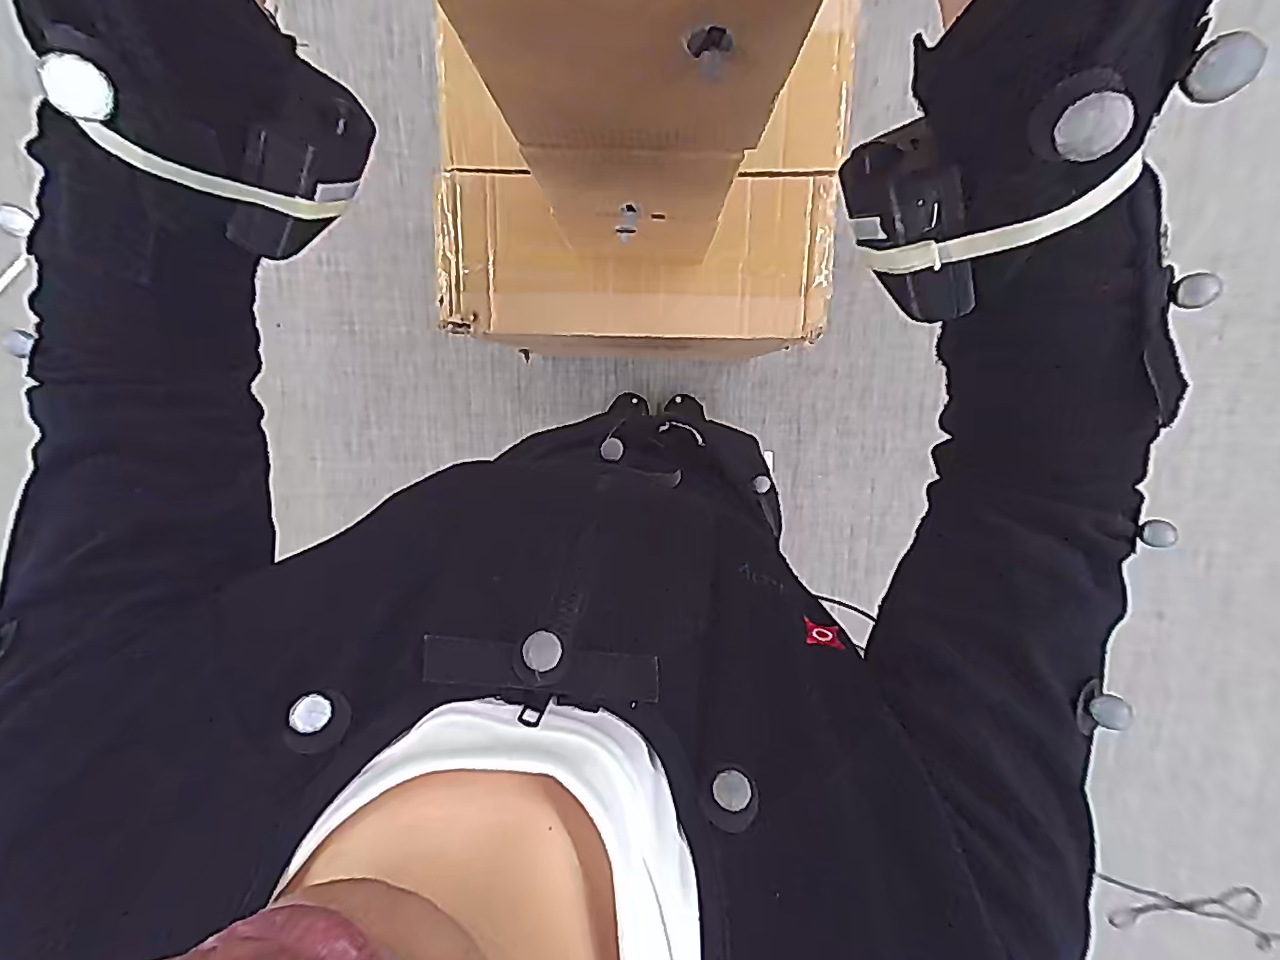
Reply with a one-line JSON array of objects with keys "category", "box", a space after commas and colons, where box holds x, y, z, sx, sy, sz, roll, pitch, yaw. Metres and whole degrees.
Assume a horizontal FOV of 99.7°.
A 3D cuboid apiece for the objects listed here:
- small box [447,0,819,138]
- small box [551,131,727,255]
[{"category": "small box", "box": [0.000, -0.309, 0.290, 0.179, 0.176, 0.168, 3, 100, 1]}, {"category": "small box", "box": [0.002, -0.363, 0.615, 0.179, 0.176, 0.168, 3, 100, 1]}]
